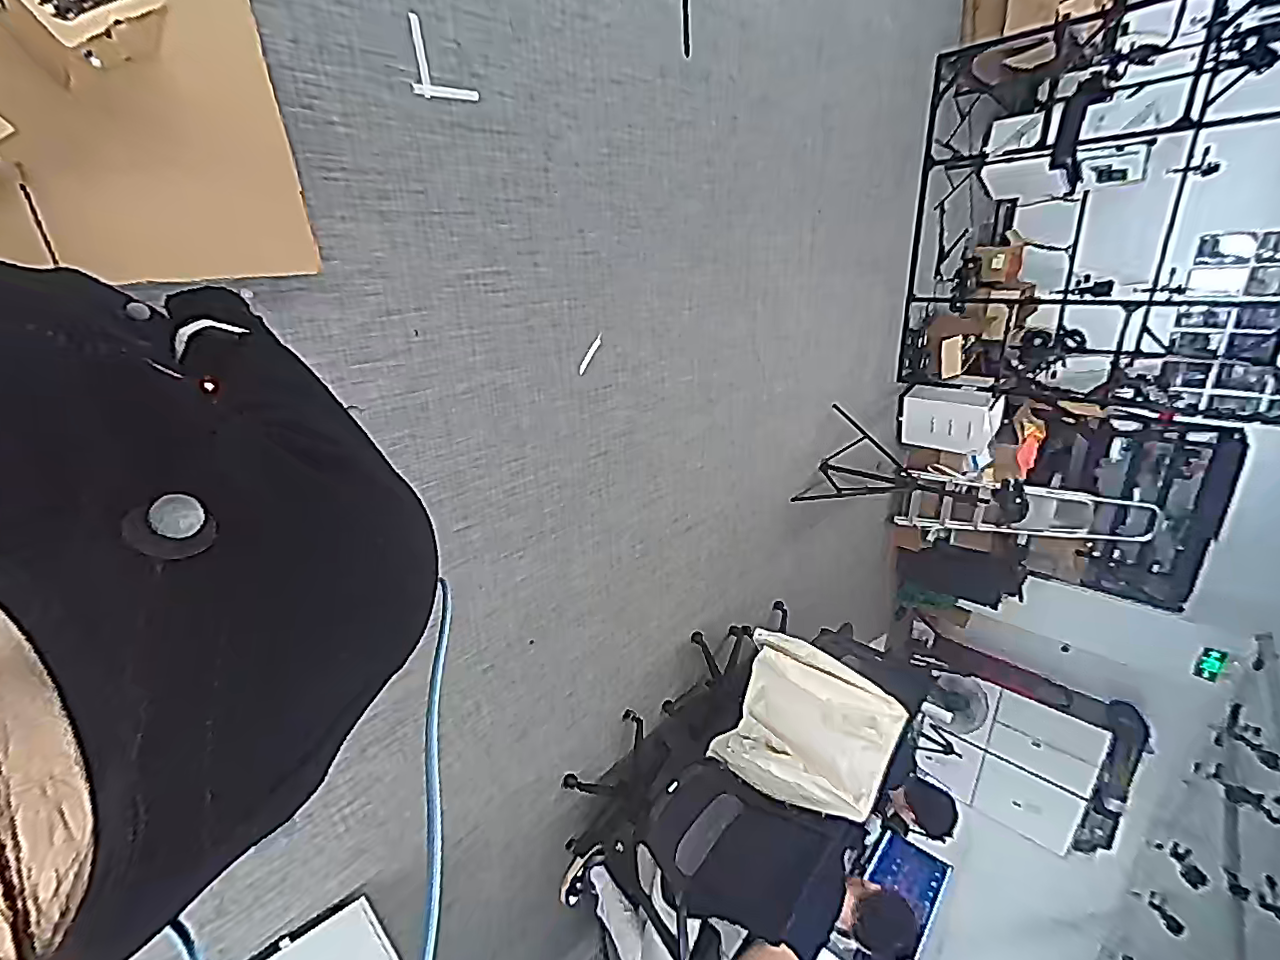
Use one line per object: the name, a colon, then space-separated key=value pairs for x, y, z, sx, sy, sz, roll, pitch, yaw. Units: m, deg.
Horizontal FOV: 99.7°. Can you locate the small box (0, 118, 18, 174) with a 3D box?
small box: x=-0.988 y=-0.464 z=0.705 sx=0.168 sy=0.176 sz=0.179 roll=50 pitch=62 yaw=-41
